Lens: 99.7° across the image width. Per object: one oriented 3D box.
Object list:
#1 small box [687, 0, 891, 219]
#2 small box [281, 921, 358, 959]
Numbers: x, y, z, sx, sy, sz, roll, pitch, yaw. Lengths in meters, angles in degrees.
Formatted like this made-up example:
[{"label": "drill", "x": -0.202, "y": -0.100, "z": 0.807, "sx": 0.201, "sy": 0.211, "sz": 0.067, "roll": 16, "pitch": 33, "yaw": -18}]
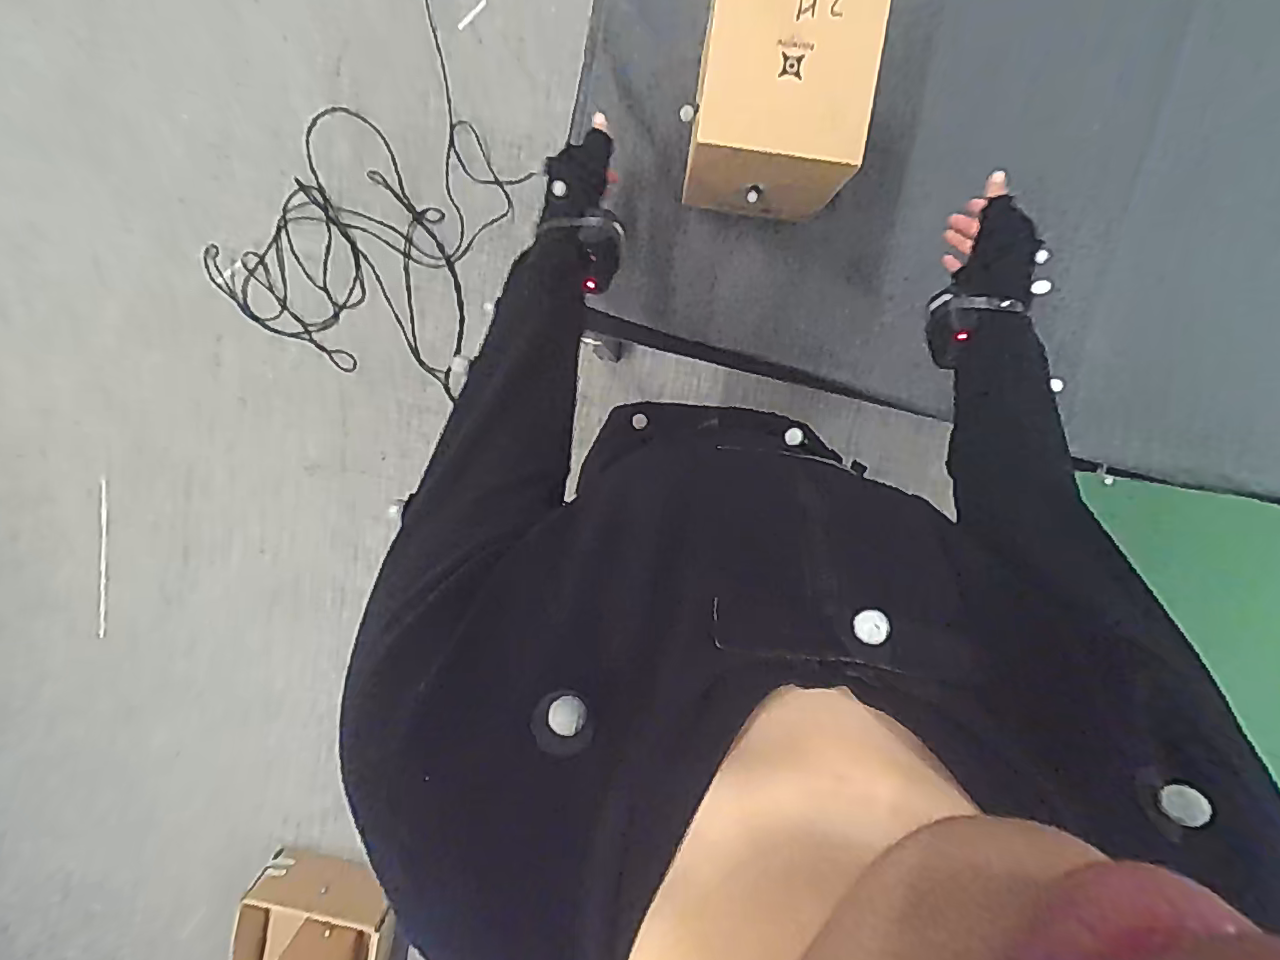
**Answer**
[{"label": "small box", "x": 0.147, "y": -0.411, "z": 0.594, "sx": 0.168, "sy": 0.176, "sz": 0.179, "roll": 8, "pitch": 97, "yaw": -1}, {"label": "small box", "x": -0.933, "y": 1.424, "z": 1.542, "sx": 0.168, "sy": 0.176, "sz": 0.179, "roll": 12, "pitch": 98, "yaw": 0}]
